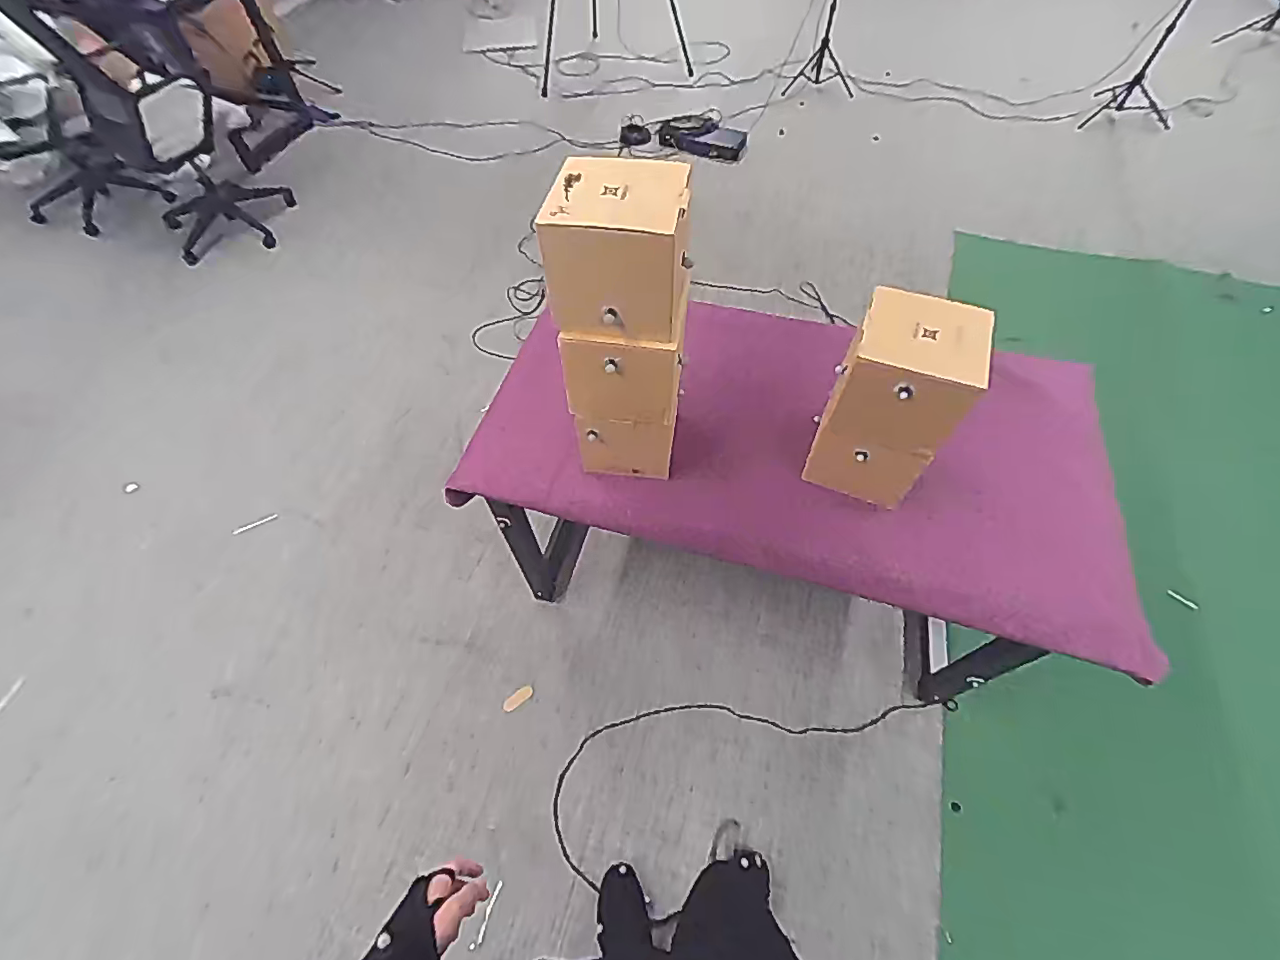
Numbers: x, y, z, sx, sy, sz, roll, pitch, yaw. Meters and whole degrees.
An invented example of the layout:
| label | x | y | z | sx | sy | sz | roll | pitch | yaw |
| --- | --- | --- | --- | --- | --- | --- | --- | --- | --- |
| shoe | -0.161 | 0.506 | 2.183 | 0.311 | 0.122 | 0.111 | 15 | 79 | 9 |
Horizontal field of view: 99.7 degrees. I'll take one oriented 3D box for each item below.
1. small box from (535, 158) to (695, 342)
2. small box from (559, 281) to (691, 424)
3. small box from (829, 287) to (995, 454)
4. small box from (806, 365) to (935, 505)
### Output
| label | x | y | z | sx | sy | sz | roll | pitch | yaw |
| --- | --- | --- | --- | --- | --- | --- | --- | --- | --- |
| small box | -0.026 | -0.313 | 0.751 | 0.179 | 0.176 | 0.168 | 8 | 57 | 7 |
| small box | -0.017 | -0.209 | 0.879 | 0.179 | 0.176 | 0.168 | 7 | 57 | 7 |
| small box | 0.412 | -0.164 | 0.841 | 0.179 | 0.176 | 0.168 | 19 | 61 | 13 |
| small box | 0.418 | -0.079 | 0.980 | 0.179 | 0.176 | 0.168 | 20 | 60 | 13 |
